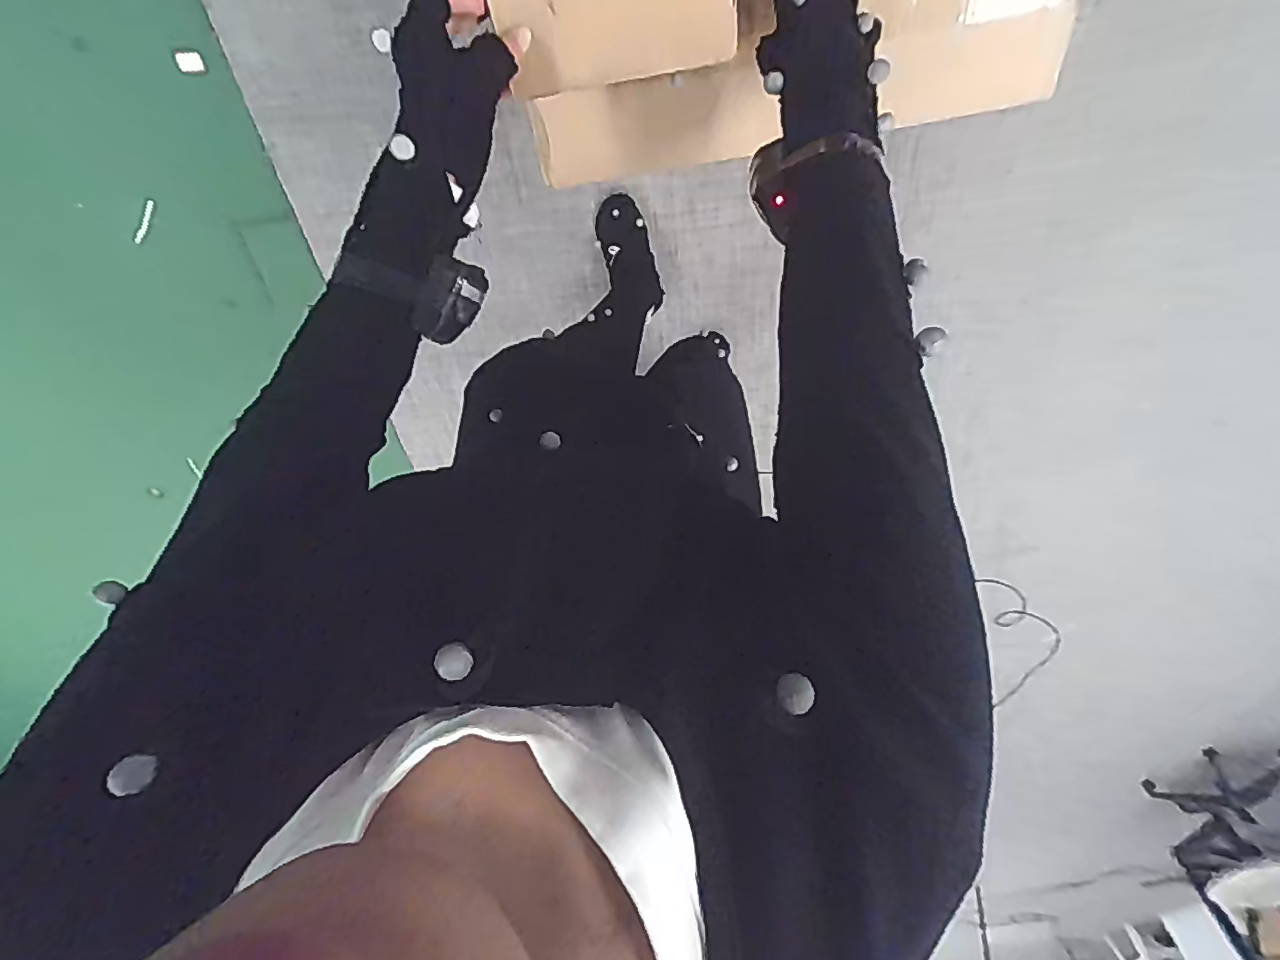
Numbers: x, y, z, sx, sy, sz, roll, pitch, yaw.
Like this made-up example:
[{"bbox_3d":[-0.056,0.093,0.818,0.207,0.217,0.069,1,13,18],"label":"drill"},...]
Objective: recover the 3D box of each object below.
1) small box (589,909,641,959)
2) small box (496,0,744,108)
[{"bbox_3d":[-0.086,1.637,1.906,0.168,0.176,0.179,-5,129,4],"label":"small box"},{"bbox_3d":[-0.019,-0.415,0.427,0.179,0.176,0.168,-6,129,7],"label":"small box"}]
